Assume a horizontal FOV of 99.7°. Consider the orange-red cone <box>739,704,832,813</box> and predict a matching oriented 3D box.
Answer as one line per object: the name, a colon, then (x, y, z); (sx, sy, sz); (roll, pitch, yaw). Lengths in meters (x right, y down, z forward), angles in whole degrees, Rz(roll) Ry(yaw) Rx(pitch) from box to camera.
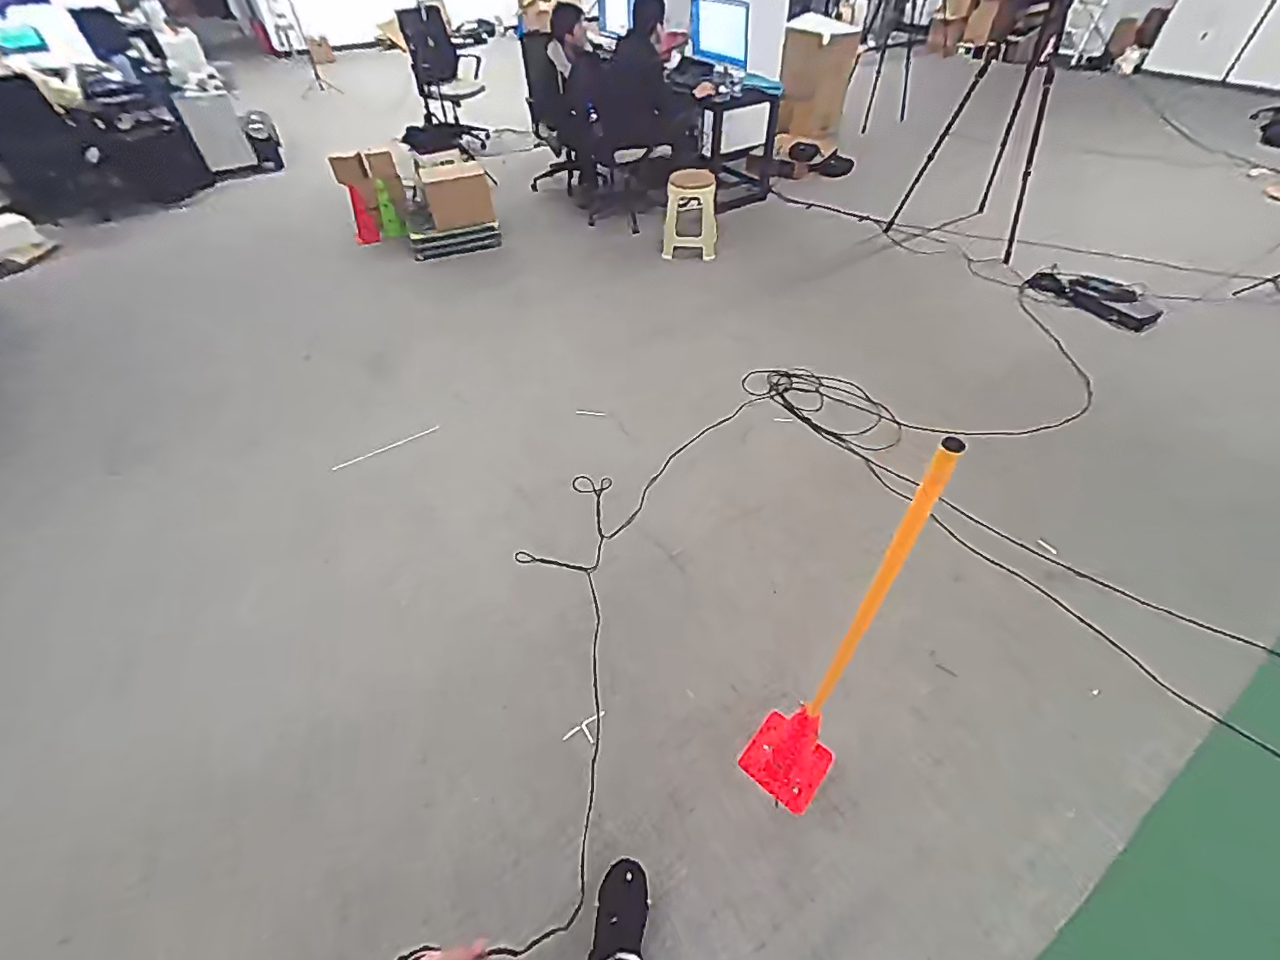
orange-red cone: (0.395, 0.645, 1.349); (0.198, 0.360, 0.199); (33, 55, 28)
